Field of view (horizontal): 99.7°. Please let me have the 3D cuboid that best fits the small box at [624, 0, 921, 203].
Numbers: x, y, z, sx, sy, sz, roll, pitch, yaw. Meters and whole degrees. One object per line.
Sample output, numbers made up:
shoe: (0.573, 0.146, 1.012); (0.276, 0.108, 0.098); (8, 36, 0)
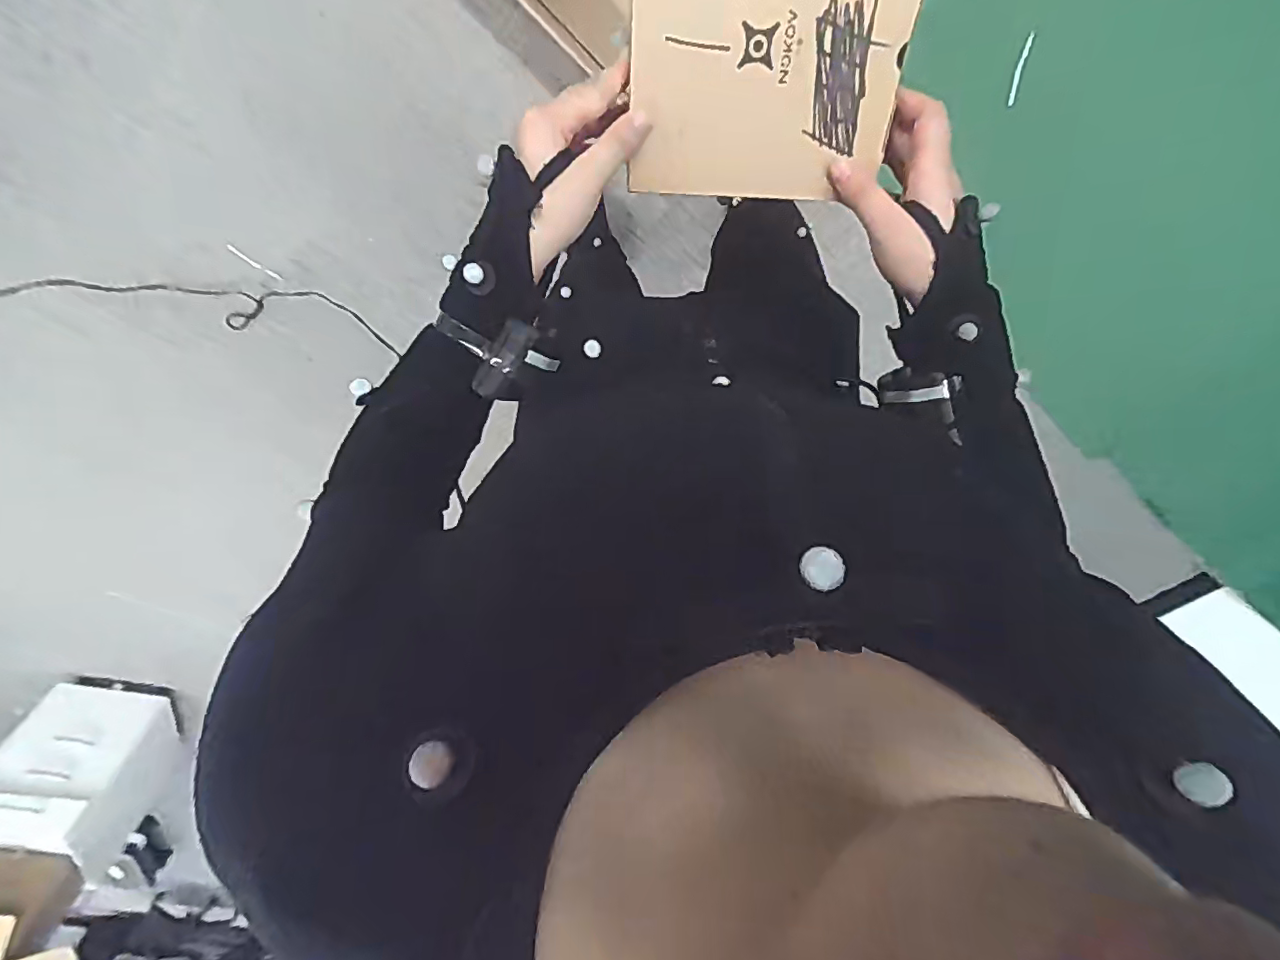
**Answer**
small box: (0.078, -0.313, 0.398); (0.179, 0.176, 0.168); (1, 126, -1)
